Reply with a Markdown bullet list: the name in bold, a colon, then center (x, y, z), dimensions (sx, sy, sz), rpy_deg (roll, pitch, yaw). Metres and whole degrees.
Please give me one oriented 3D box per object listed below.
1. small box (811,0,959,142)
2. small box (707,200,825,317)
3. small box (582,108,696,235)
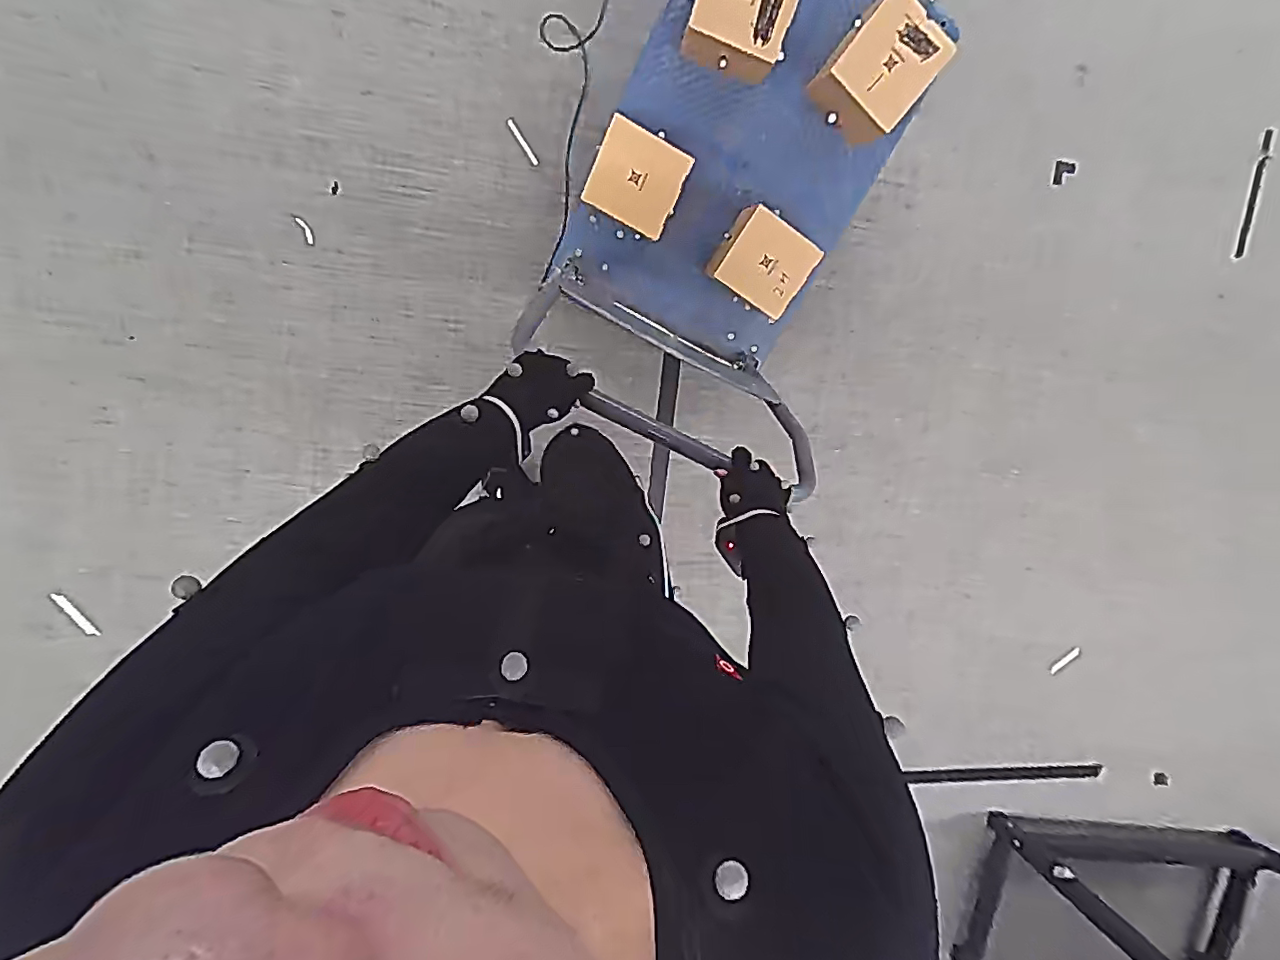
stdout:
- **small box**: center (0.471, -0.812, 1.069), dimensions (0.168, 0.176, 0.179), rpy_deg (36, 109, -16)
- **small box**: center (0.269, -0.488, 1.203), dimensions (0.179, 0.176, 0.168), rpy_deg (31, 110, -14)
- **small box**: center (-0.007, -0.631, 1.131), dimensions (0.179, 0.176, 0.168), rpy_deg (24, 111, -14)
